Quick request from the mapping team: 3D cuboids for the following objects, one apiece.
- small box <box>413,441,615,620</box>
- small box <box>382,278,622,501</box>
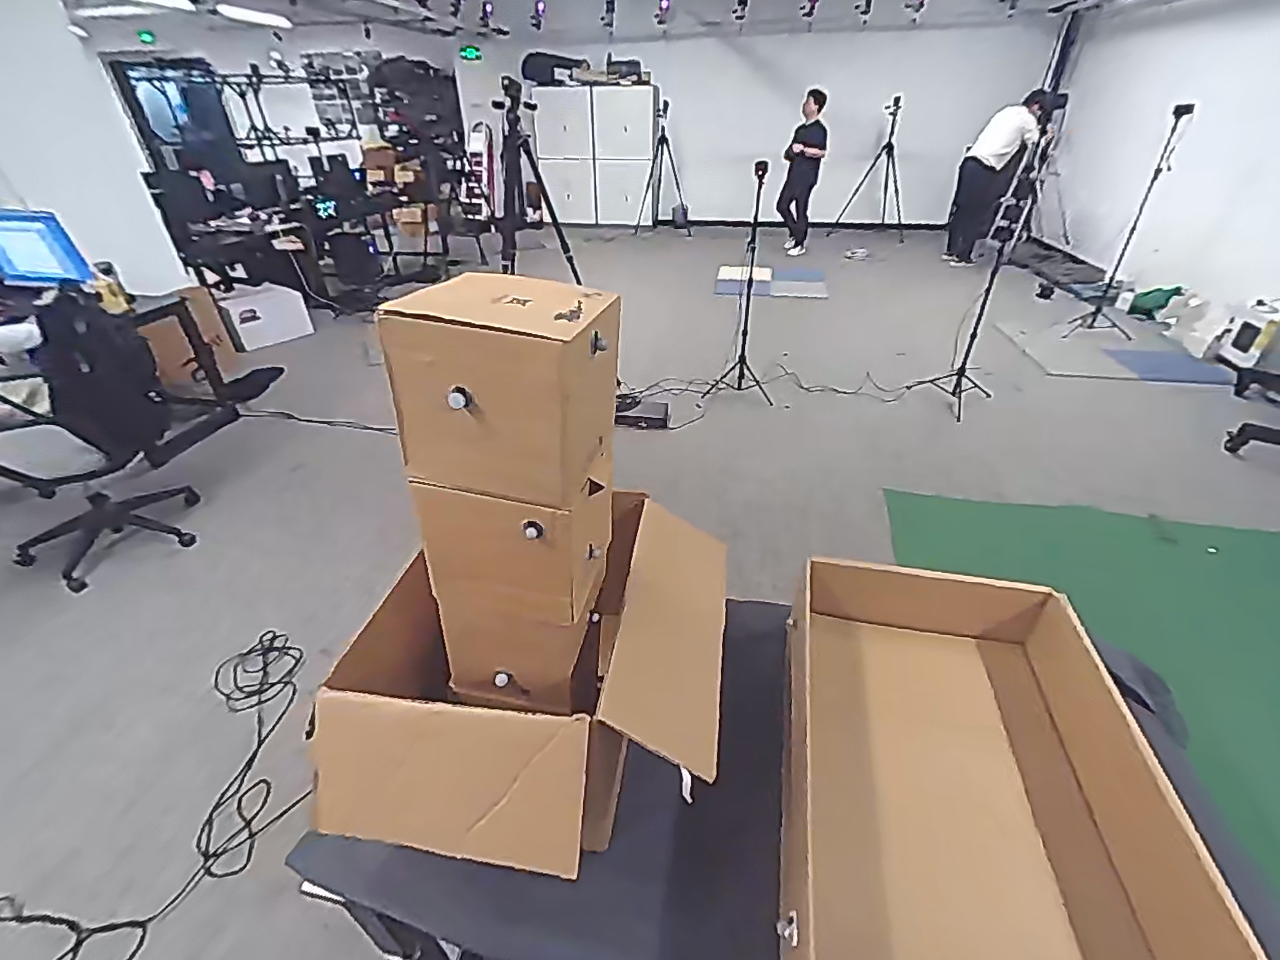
[{"bbox_3d":[-0.136,0.042,0.642,0.179,0.176,0.168,10,34,7],"label":"small box"},{"bbox_3d":[-0.124,-0.097,0.555,0.179,0.176,0.168,10,34,9],"label":"small box"}]
